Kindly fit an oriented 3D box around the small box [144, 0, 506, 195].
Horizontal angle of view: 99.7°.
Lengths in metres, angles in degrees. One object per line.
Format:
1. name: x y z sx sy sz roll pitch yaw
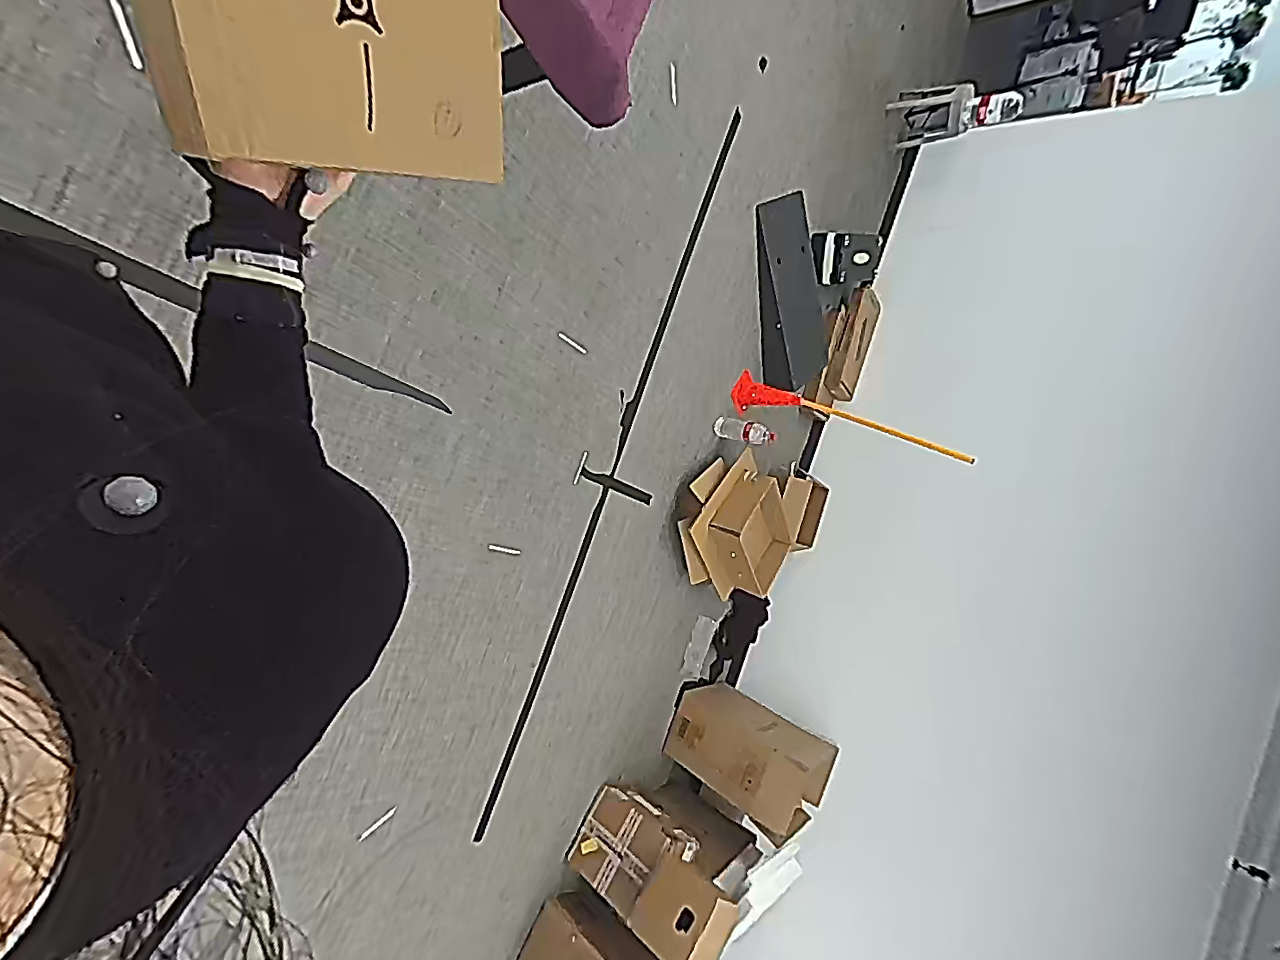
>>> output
1. small box: -0.201 -0.290 0.343 0.168 0.176 0.179 -19 126 -39
